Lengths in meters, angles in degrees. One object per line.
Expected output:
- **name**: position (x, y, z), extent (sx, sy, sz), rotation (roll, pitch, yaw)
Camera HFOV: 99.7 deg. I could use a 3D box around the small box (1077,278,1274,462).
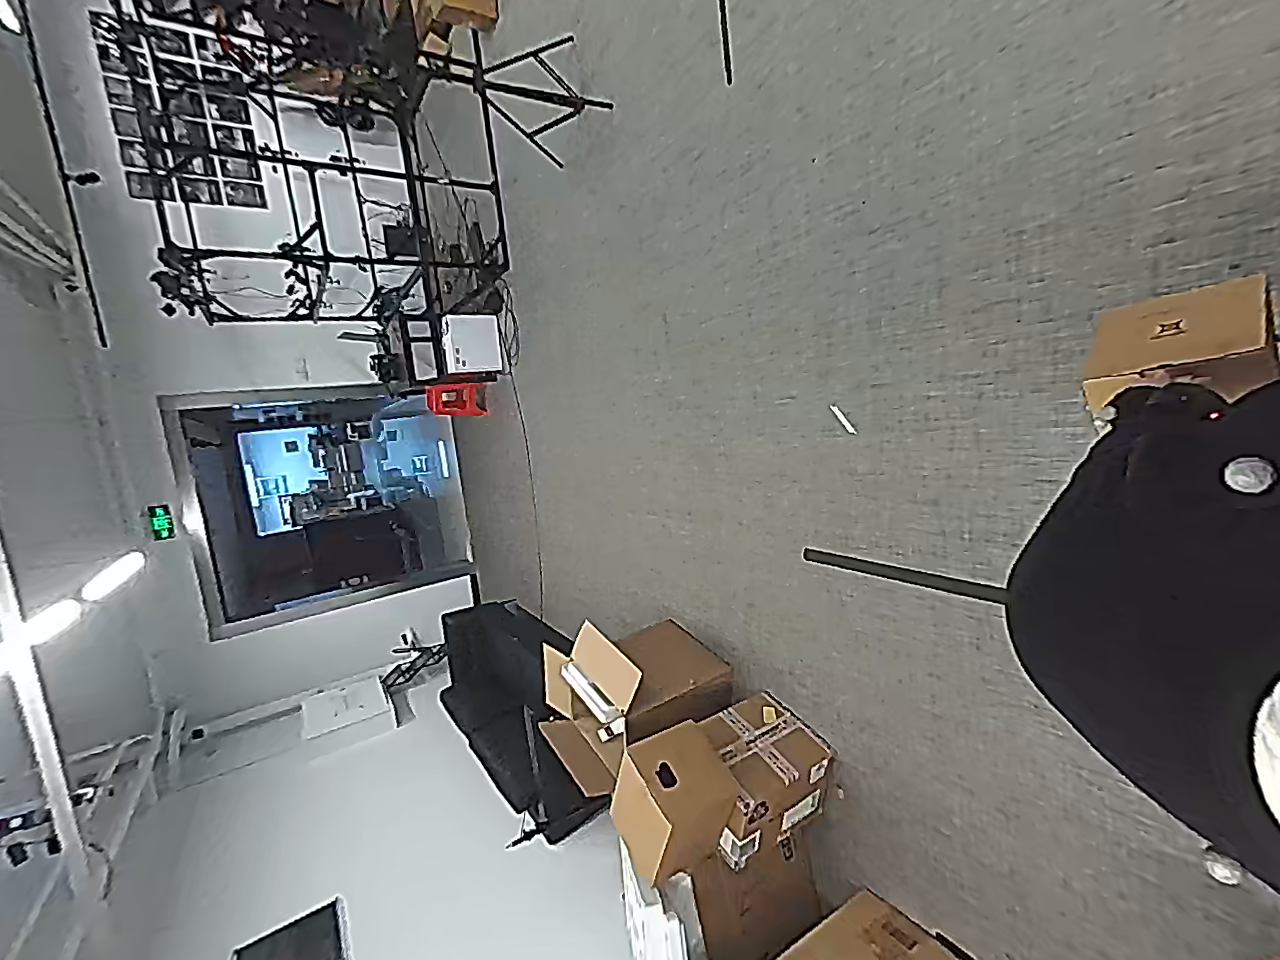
- **small box**: position (0.736, -0.136, 0.742), extent (0.168, 0.179, 0.176), rotation (-5, 128, 52)
